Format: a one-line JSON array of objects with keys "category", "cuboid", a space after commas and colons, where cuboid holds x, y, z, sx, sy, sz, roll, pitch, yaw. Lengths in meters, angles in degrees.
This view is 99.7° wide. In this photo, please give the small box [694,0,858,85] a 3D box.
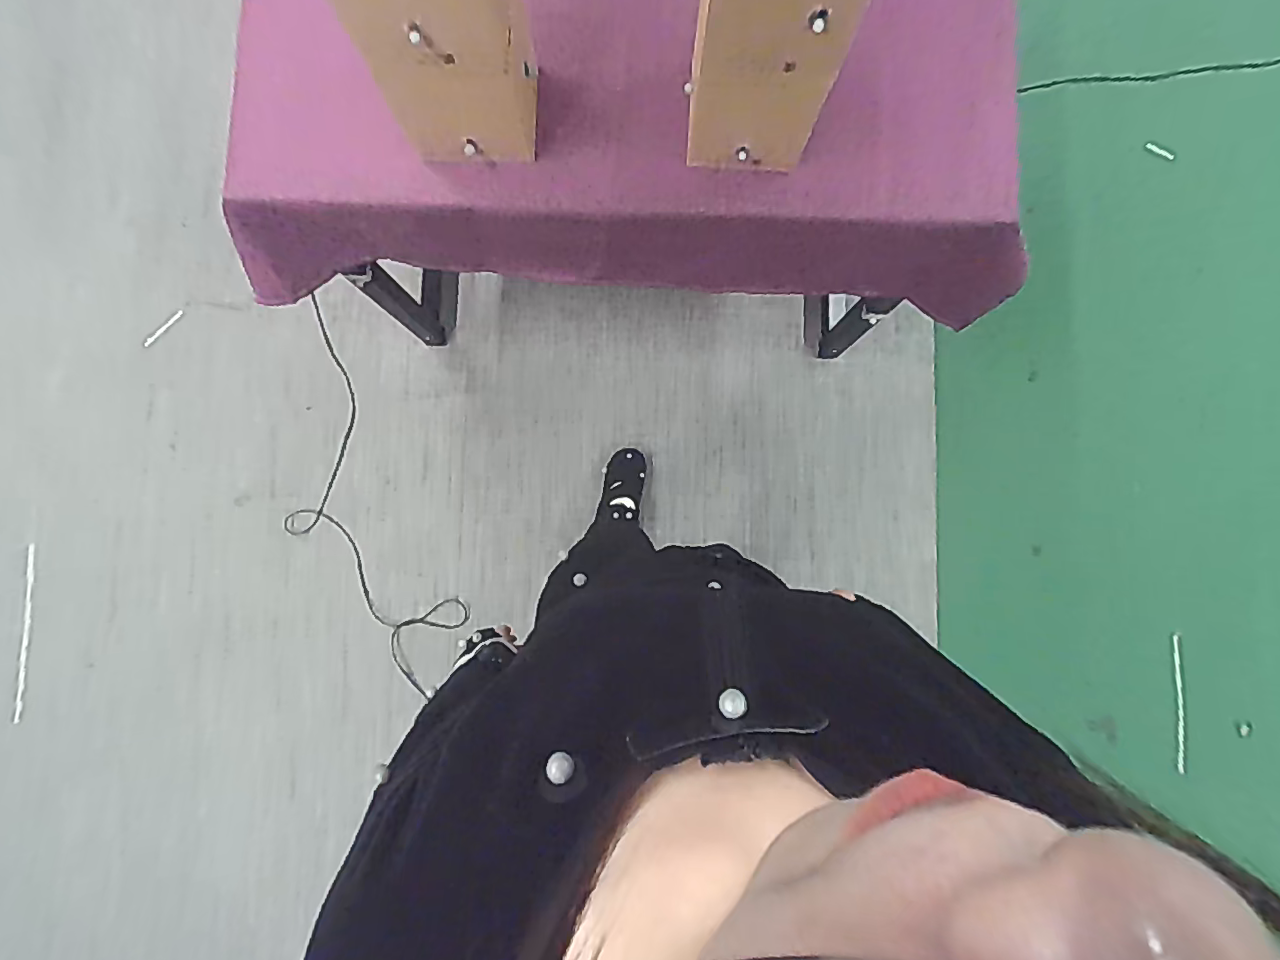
[{"category": "small box", "cuboid": [0.151, -0.575, 0.590, 0.168, 0.176, 0.179, 2, 85, -1]}]

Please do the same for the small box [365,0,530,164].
[{"category": "small box", "cuboid": [-0.252, -0.569, 0.751, 0.179, 0.176, 0.168, 0, 85, -1]}]
